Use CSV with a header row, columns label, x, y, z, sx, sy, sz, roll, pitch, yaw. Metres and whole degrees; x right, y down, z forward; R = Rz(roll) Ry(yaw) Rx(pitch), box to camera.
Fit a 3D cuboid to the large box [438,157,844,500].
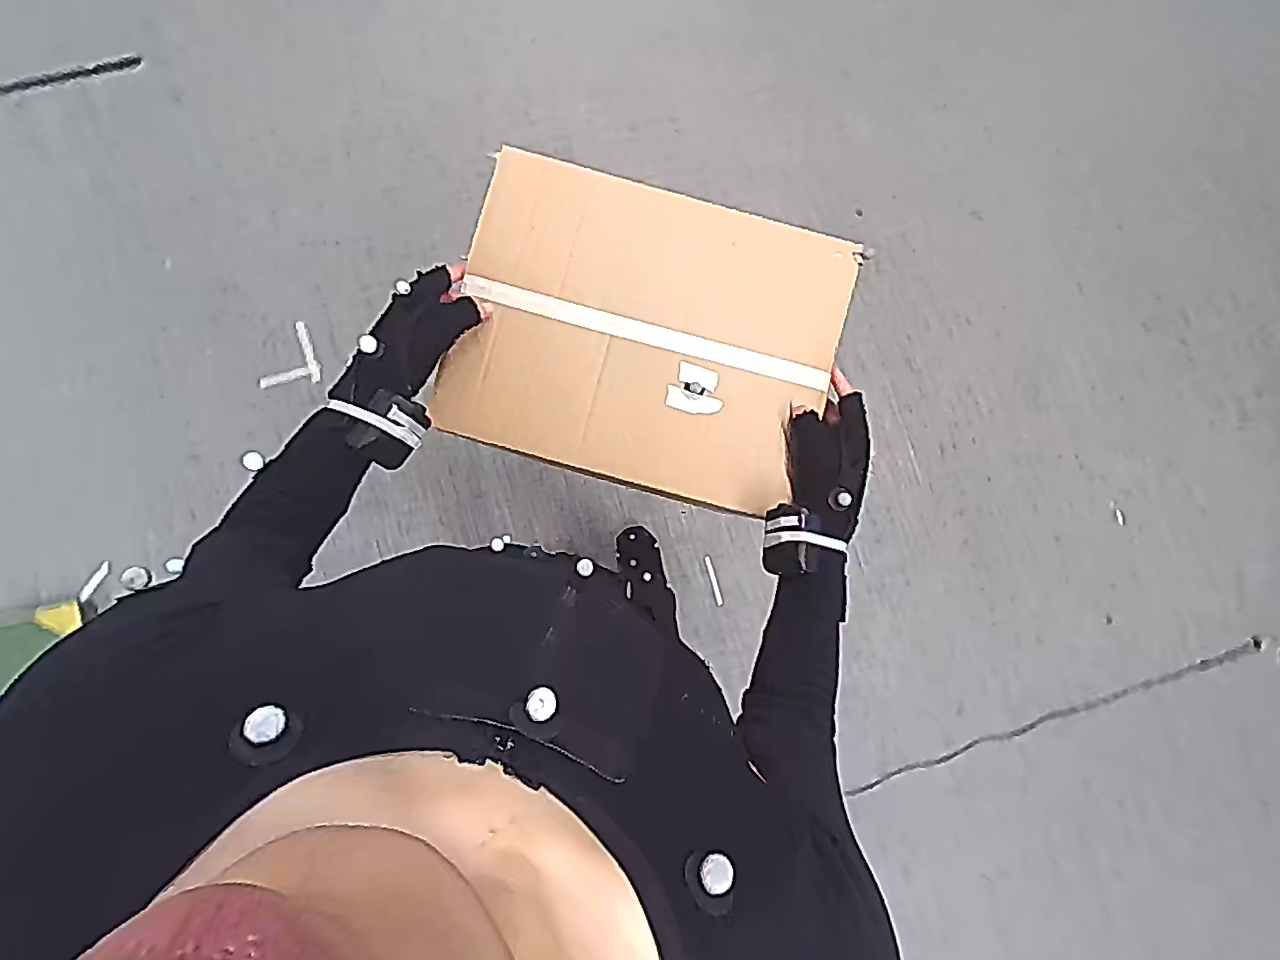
label,x,y,z,sx,sy,sz,roll,pitch,yaw
large box,-0.002,-0.163,0.742,0.408,0.320,0.320,13,89,-1
